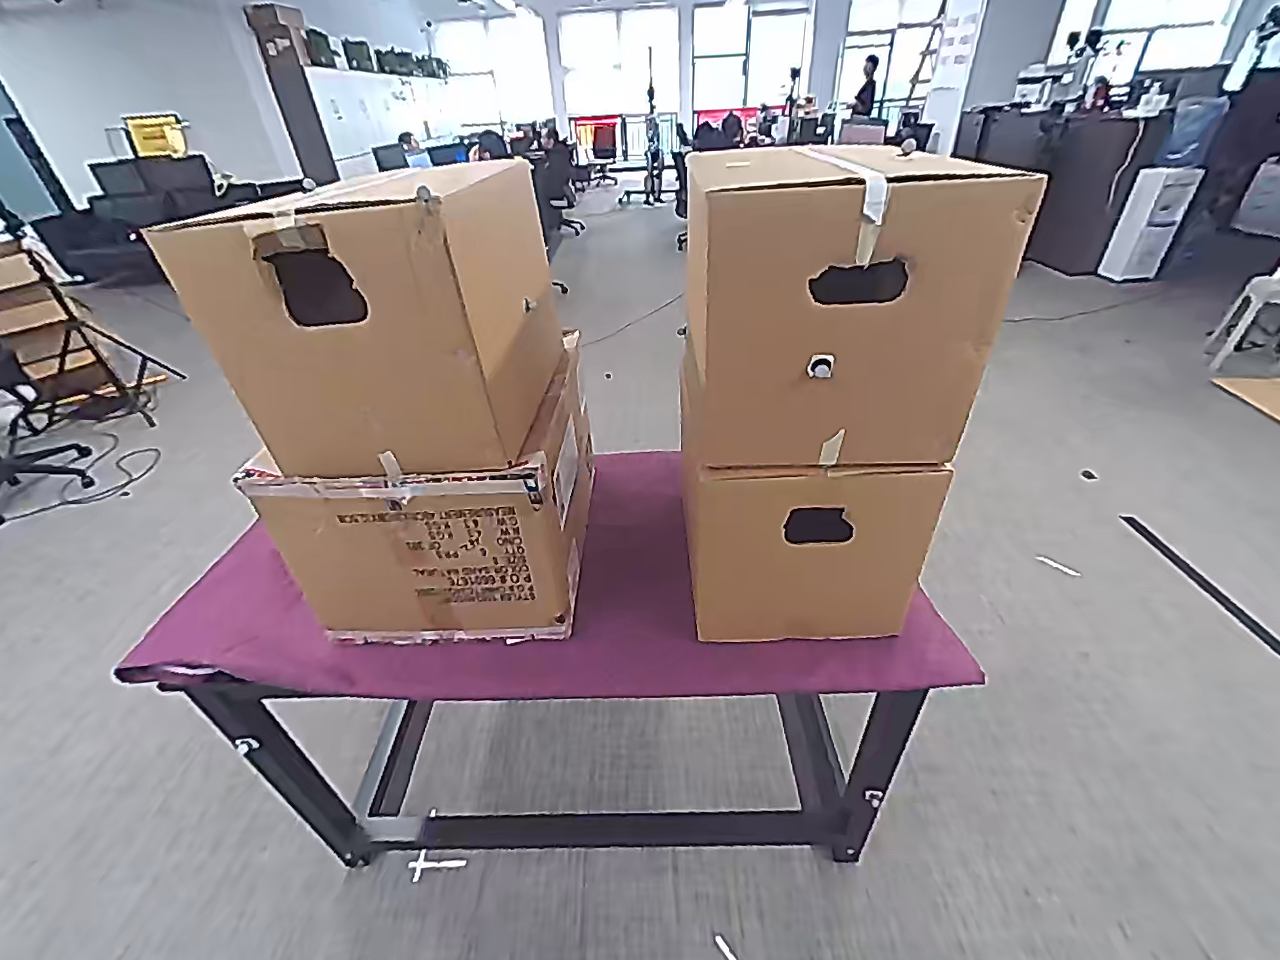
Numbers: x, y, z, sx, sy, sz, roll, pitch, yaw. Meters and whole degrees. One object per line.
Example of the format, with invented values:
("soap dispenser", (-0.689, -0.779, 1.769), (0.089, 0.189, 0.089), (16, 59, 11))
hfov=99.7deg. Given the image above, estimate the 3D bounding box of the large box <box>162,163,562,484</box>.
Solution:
("large box", (-0.307, -0.240, 0.769), (0.320, 0.320, 0.408), (-5, 35, 5))
